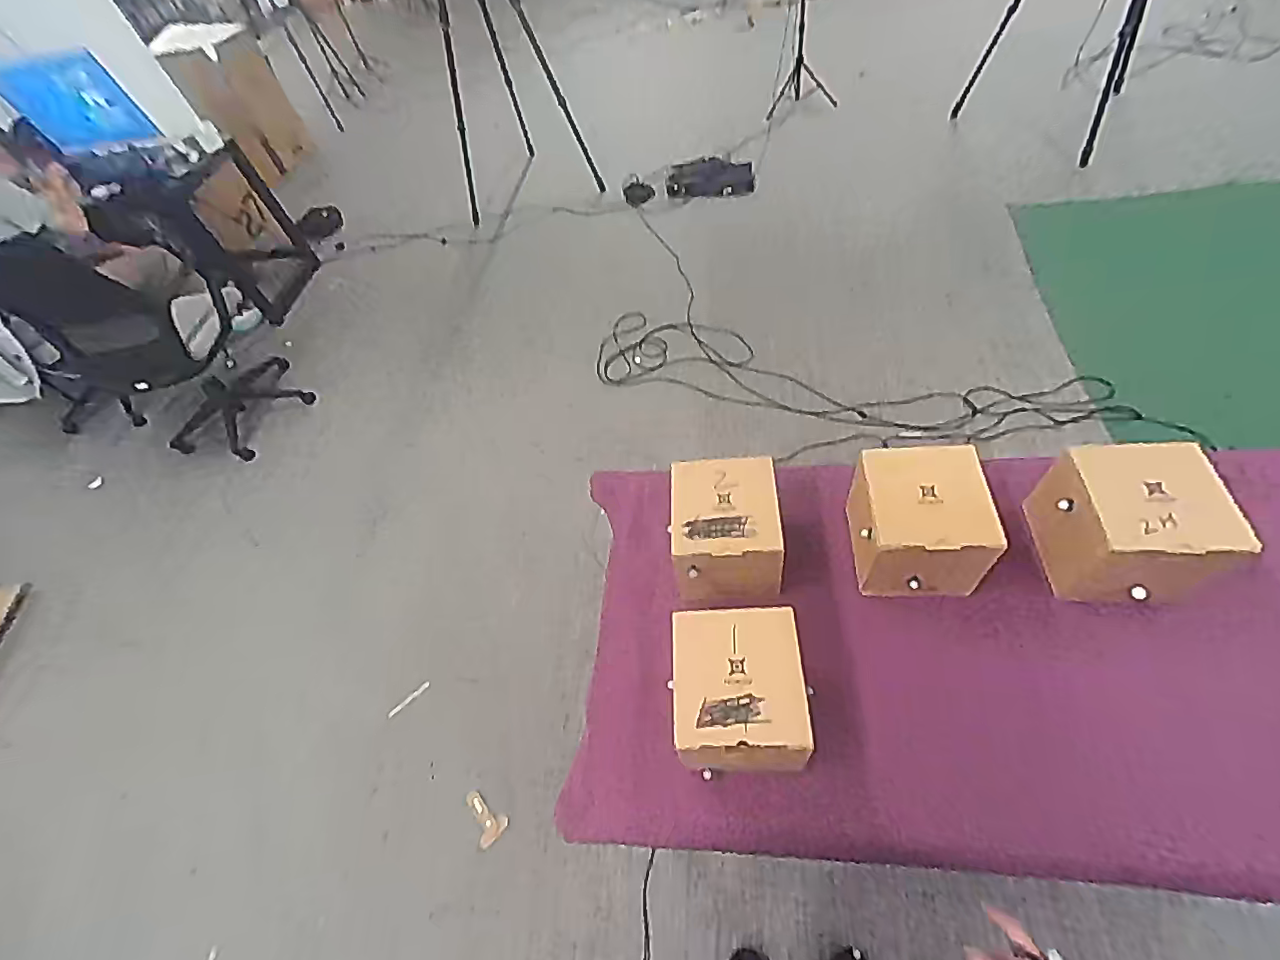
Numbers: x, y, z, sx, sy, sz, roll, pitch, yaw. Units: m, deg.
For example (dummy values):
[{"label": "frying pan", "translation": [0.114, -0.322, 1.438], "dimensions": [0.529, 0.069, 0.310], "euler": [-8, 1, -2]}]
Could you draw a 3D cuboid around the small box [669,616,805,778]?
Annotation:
[{"label": "small box", "translation": [0.133, 0.307, 0.754], "dimensions": [0.168, 0.176, 0.179], "euler": [-4, 52, 9]}]

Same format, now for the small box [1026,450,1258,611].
[{"label": "small box", "translation": [0.708, 0.076, 0.794], "dimensions": [0.168, 0.176, 0.179], "euler": [-2, 55, 12]}]

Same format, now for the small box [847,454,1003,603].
[{"label": "small box", "translation": [0.433, 0.079, 0.857], "dimensions": [0.168, 0.176, 0.179], "euler": [-2, 56, 11]}]
